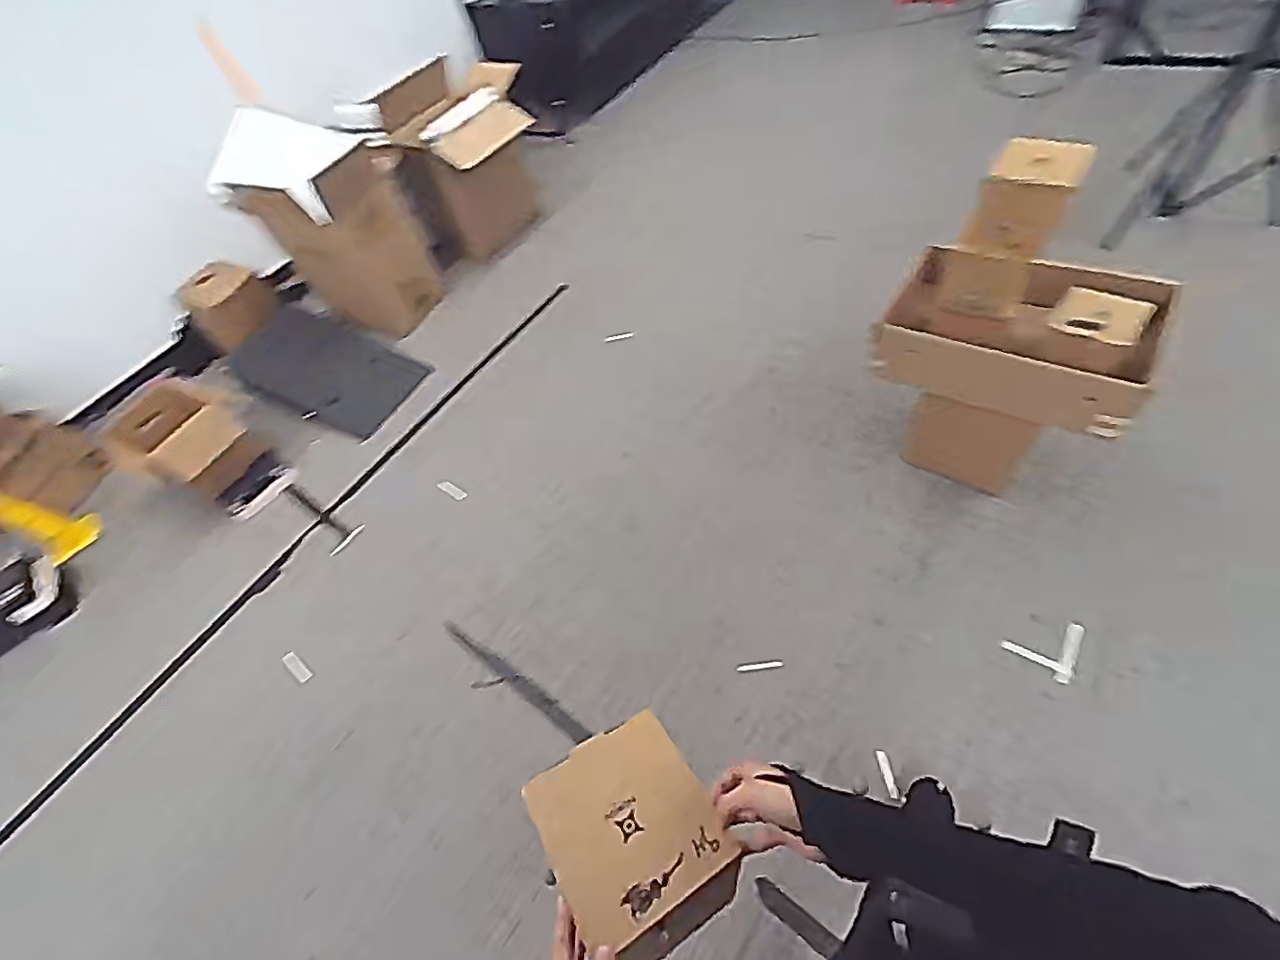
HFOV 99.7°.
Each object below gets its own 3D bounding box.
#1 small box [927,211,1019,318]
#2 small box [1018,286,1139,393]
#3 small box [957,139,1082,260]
[{"bbox_3d":[0.844,-0.540,1.357,0.168,0.176,0.179,22,63,24],"label":"small box"},{"bbox_3d":[1.091,-0.349,1.361,0.168,0.176,0.179,31,68,31],"label":"small box"},{"bbox_3d":[0.845,-0.632,1.220,0.168,0.176,0.179,25,64,25],"label":"small box"}]
